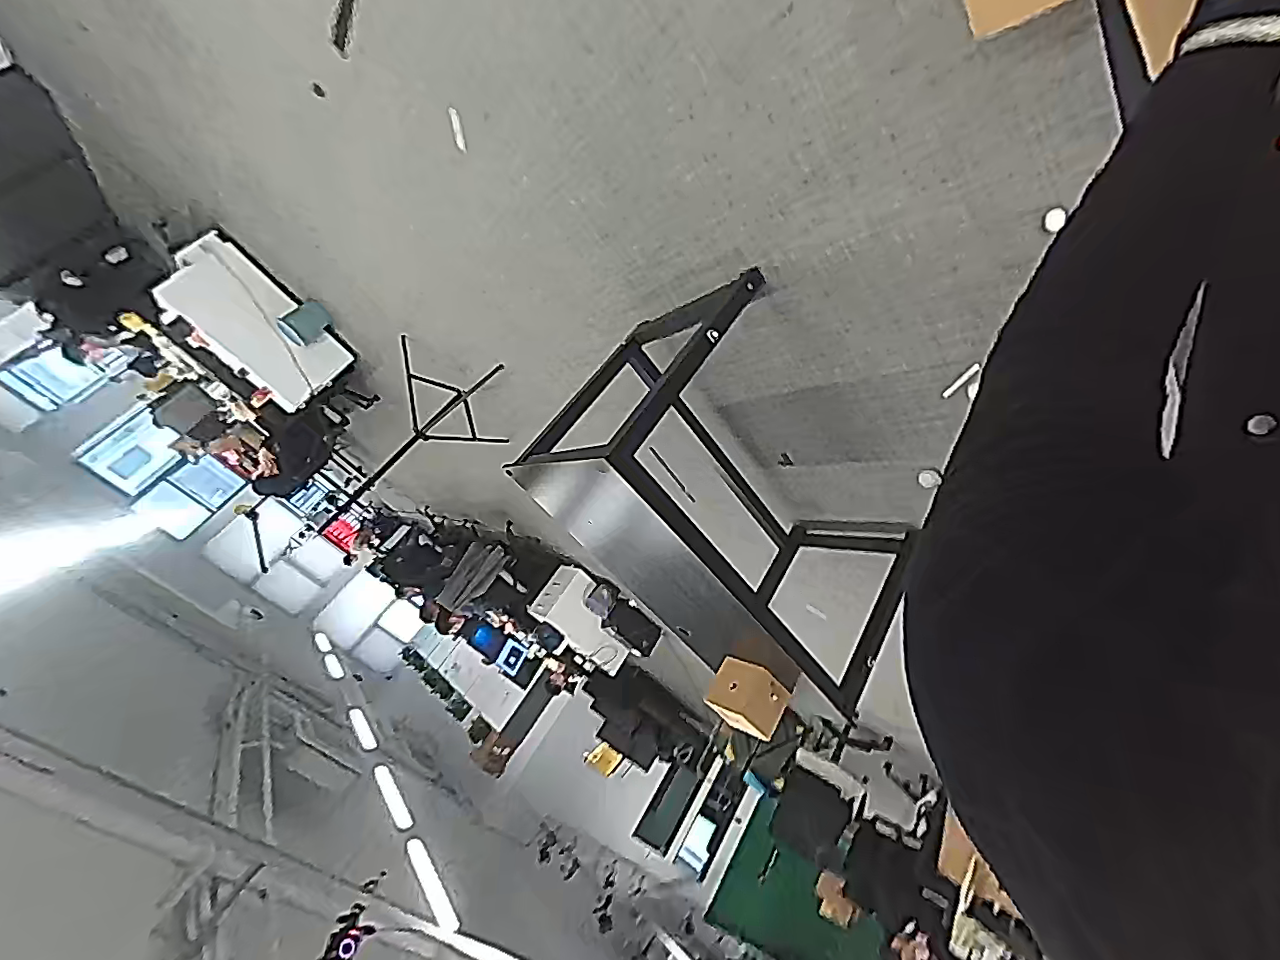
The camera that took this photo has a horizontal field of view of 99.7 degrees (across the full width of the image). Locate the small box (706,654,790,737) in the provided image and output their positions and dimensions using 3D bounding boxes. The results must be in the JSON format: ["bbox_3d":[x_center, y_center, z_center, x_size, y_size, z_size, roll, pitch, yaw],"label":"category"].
[{"bbox_3d":[0.356,0.695,1.767,0.168,0.176,0.179,47,154,-23],"label":"small box"}]
